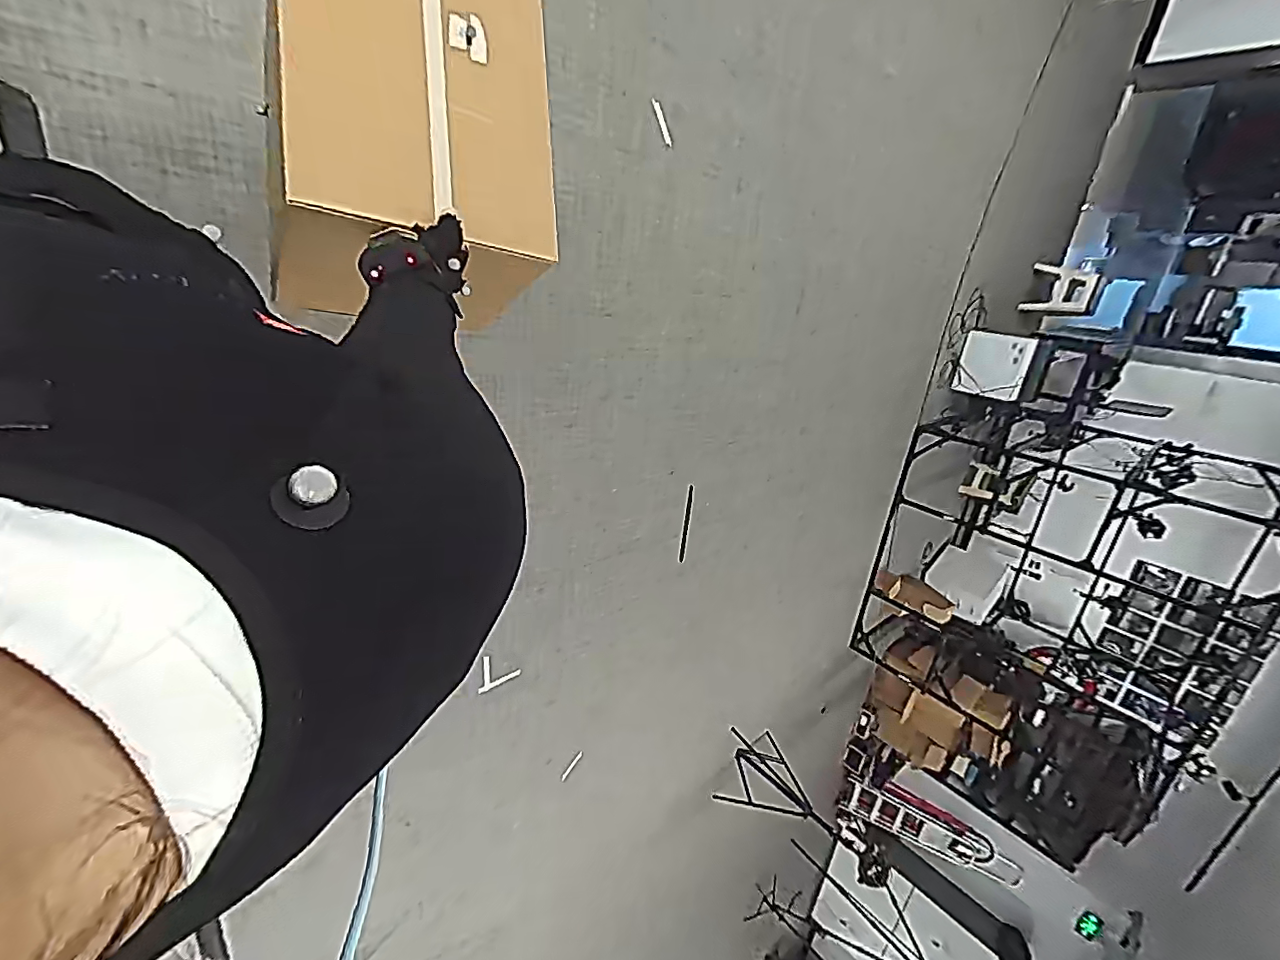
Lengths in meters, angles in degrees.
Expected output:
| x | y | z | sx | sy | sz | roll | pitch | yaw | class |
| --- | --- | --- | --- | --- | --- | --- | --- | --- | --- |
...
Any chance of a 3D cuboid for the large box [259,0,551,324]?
| x | y | z | sx | sy | sz | roll | pitch | yaw | class |
| --- | --- | --- | --- | --- | --- | --- | --- | --- | --- |
| -0.353 | -0.483 | 0.788 | 0.320 | 0.320 | 0.408 | -2 | 86 | -39 | large box |
